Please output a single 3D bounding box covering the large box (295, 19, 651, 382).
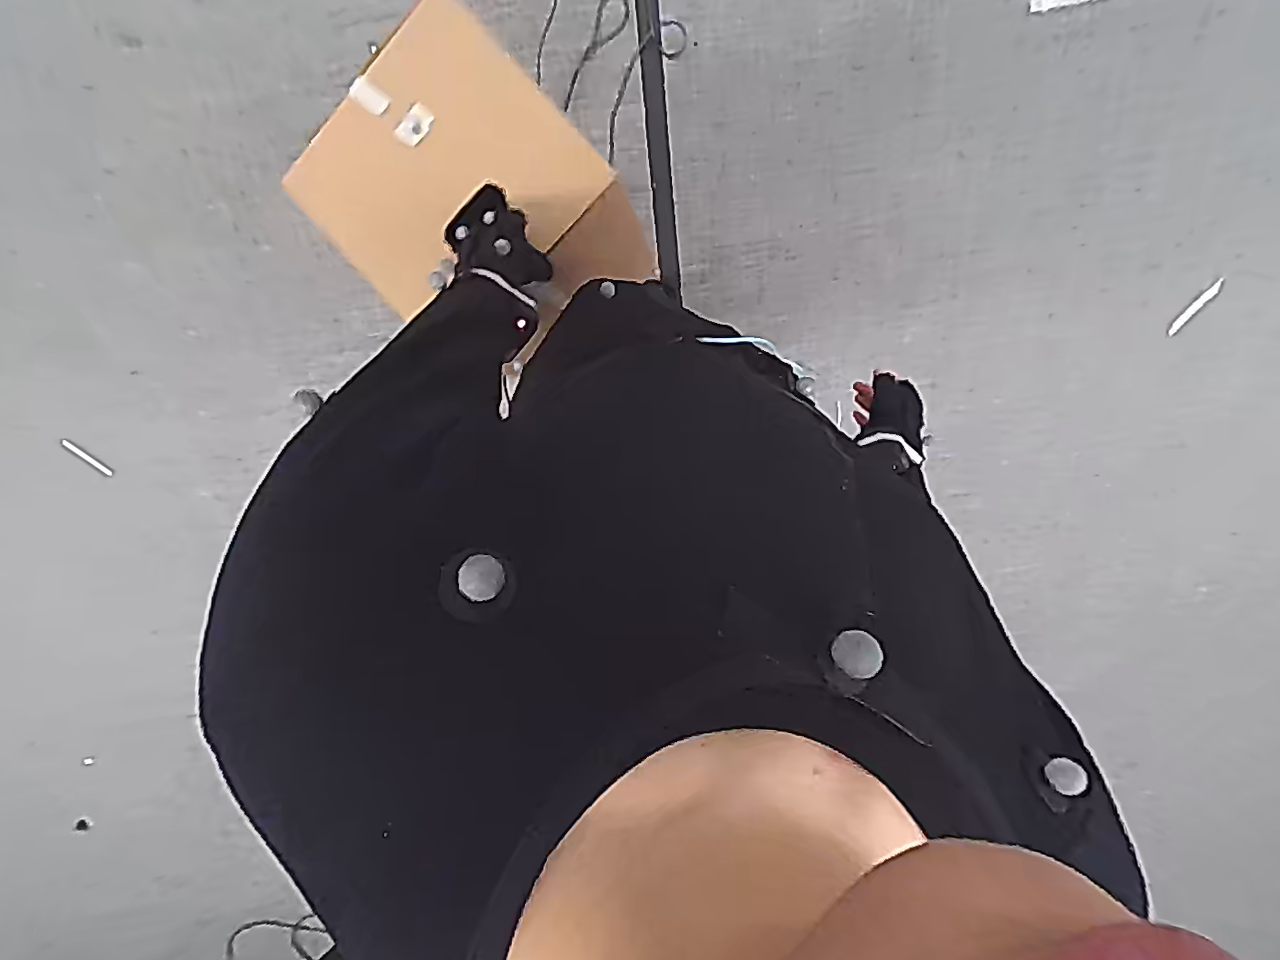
[{"bbox_3d":[-0.219,-0.377,0.861,0.320,0.408,0.320,-44,90,12],"label":"large box"}]
